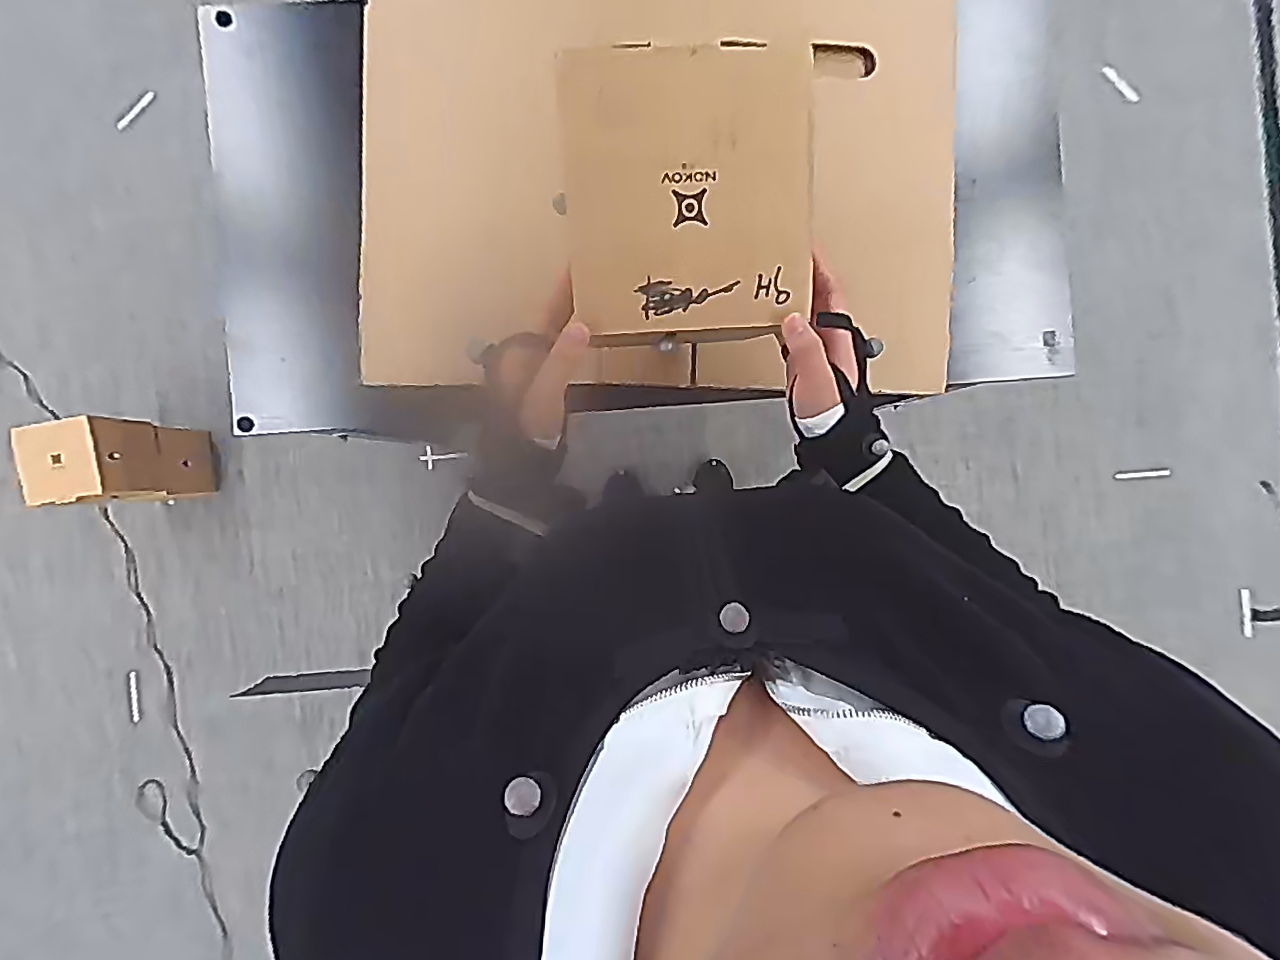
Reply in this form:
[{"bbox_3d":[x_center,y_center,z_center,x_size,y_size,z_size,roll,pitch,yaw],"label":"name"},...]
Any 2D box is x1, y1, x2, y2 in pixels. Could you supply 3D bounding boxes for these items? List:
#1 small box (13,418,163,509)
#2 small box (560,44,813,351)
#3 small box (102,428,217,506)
[{"bbox_3d":[-1.252,-0.036,1.242,0.168,0.176,0.179,-12,90,-2],"label":"small box"},{"bbox_3d":[0.027,-0.202,0.433,0.168,0.176,0.179,-4,101,-3],"label":"small box"},{"bbox_3d":[-1.252,-0.032,1.405,0.168,0.176,0.179,-8,91,-1],"label":"small box"}]
